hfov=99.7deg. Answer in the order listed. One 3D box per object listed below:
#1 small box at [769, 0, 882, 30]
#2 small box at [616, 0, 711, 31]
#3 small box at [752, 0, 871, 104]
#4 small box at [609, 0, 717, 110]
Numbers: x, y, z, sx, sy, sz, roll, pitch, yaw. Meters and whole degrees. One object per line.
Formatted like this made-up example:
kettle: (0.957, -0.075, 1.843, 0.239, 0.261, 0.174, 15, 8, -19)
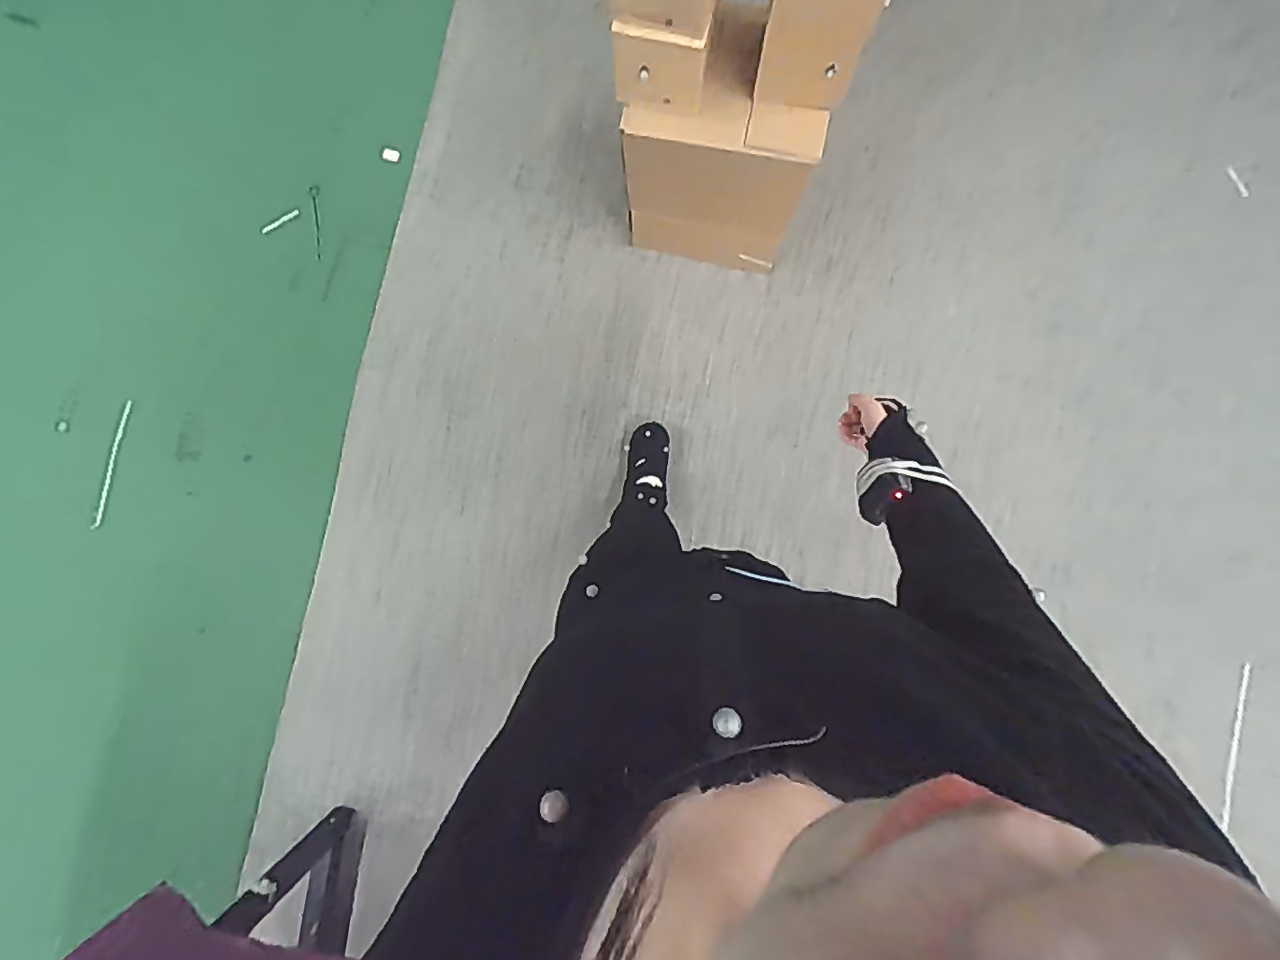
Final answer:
small box: (0.313, -0.845, 0.831, 0.179, 0.176, 0.168, 12, 86, 4)
small box: (0.047, -0.856, 0.836, 0.168, 0.176, 0.179, 15, 87, 1)
small box: (0.317, -0.835, 0.995, 0.179, 0.176, 0.168, 11, 86, 3)
small box: (0.047, -0.834, 1.000, 0.168, 0.176, 0.179, 13, 87, 1)
